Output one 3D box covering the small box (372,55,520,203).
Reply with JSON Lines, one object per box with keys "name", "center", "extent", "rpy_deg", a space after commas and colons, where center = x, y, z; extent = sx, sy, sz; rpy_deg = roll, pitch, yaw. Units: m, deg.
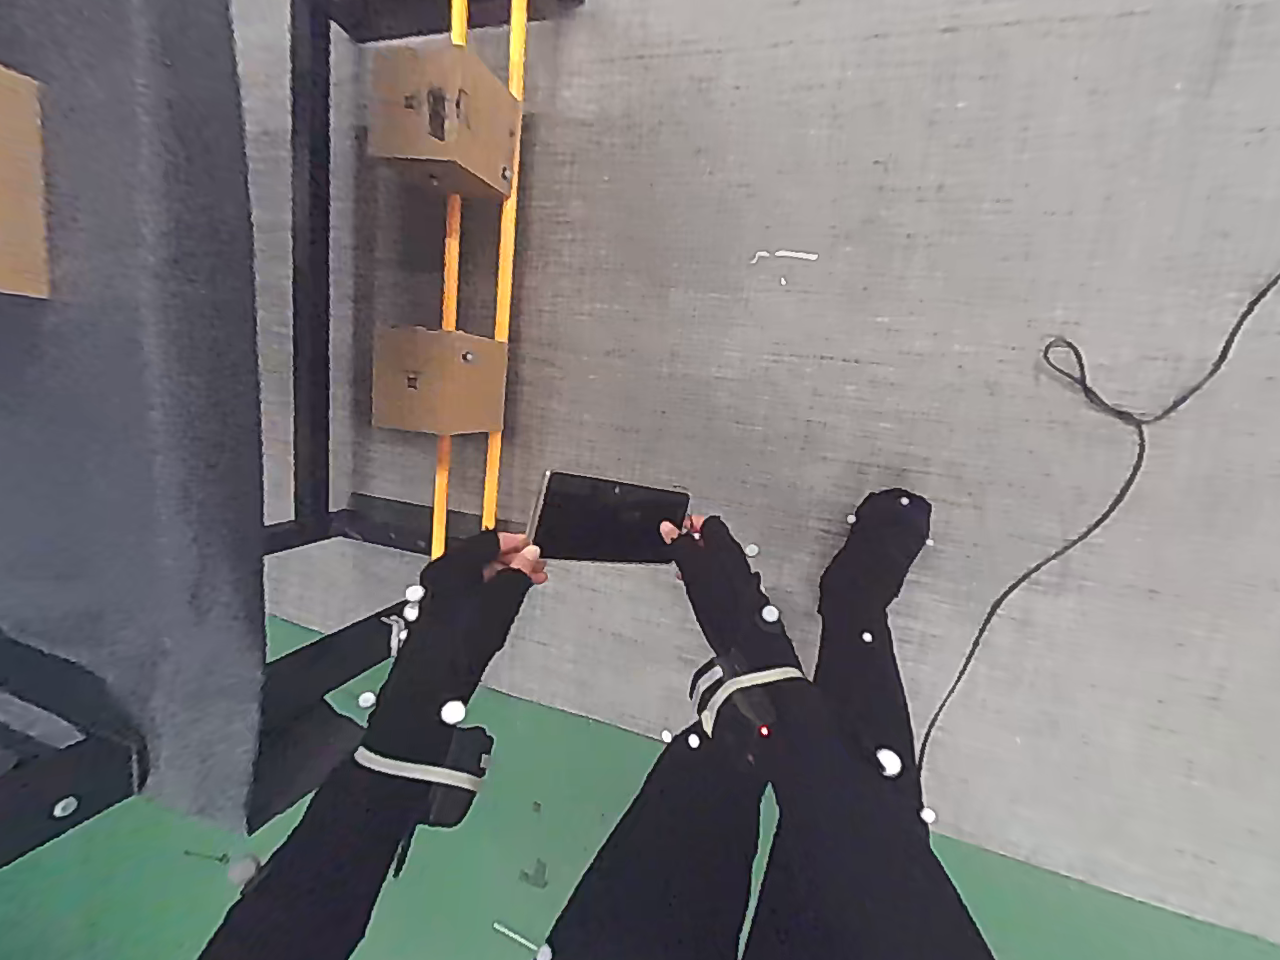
{"name": "small box", "center": [-0.329, -0.597, 0.938], "extent": [0.179, 0.176, 0.168], "rpy_deg": [12, 100, 17]}
